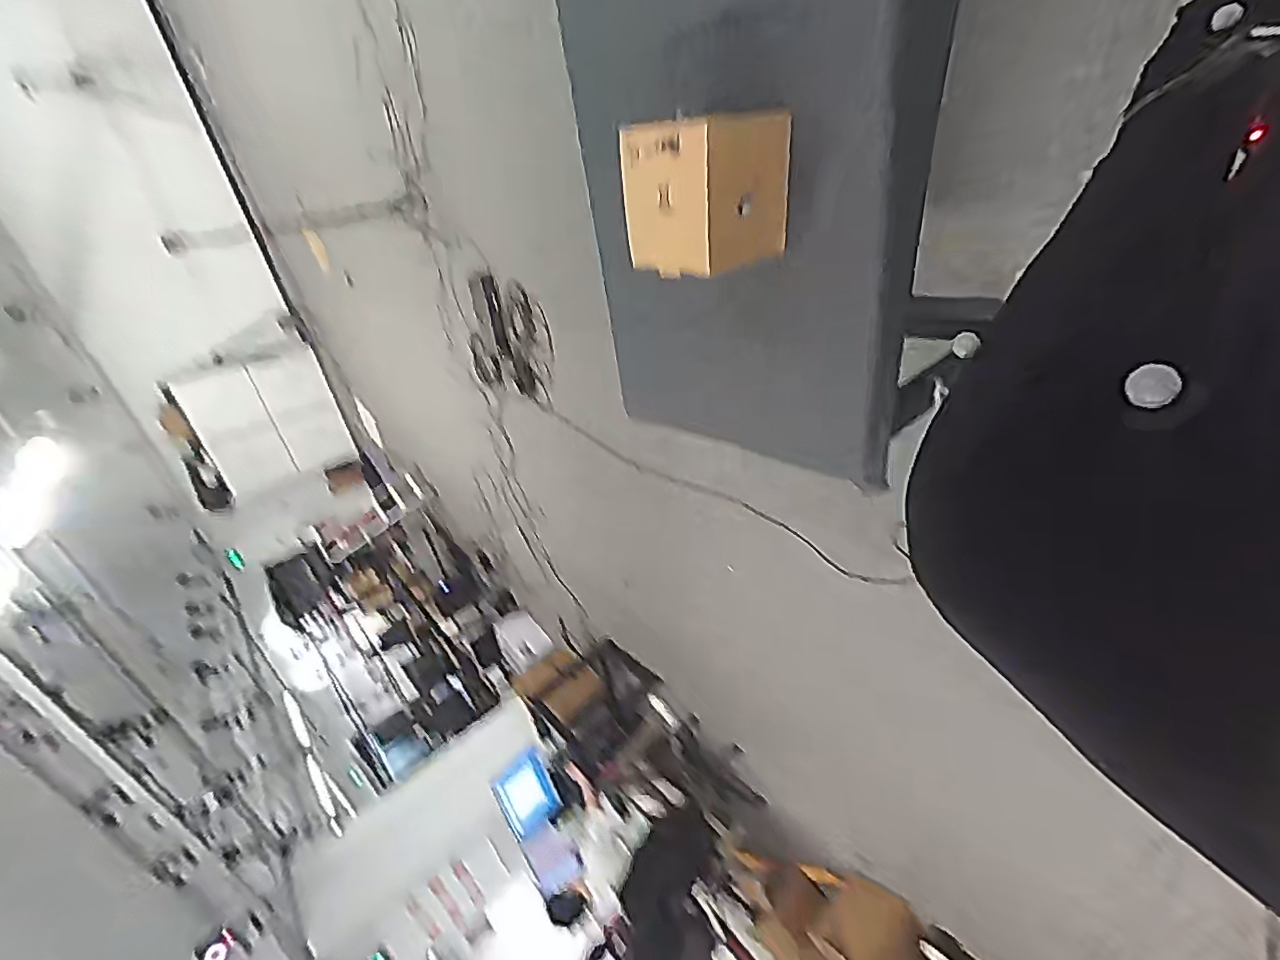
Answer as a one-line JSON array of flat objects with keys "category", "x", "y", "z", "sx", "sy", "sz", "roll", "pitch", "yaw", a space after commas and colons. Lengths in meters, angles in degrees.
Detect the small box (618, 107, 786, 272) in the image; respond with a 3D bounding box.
[{"category": "small box", "x": 0.092, "y": -0.416, "z": 0.774, "sx": 0.168, "sy": 0.176, "sz": 0.179, "roll": 29, "pitch": 138, "yaw": 41}]
